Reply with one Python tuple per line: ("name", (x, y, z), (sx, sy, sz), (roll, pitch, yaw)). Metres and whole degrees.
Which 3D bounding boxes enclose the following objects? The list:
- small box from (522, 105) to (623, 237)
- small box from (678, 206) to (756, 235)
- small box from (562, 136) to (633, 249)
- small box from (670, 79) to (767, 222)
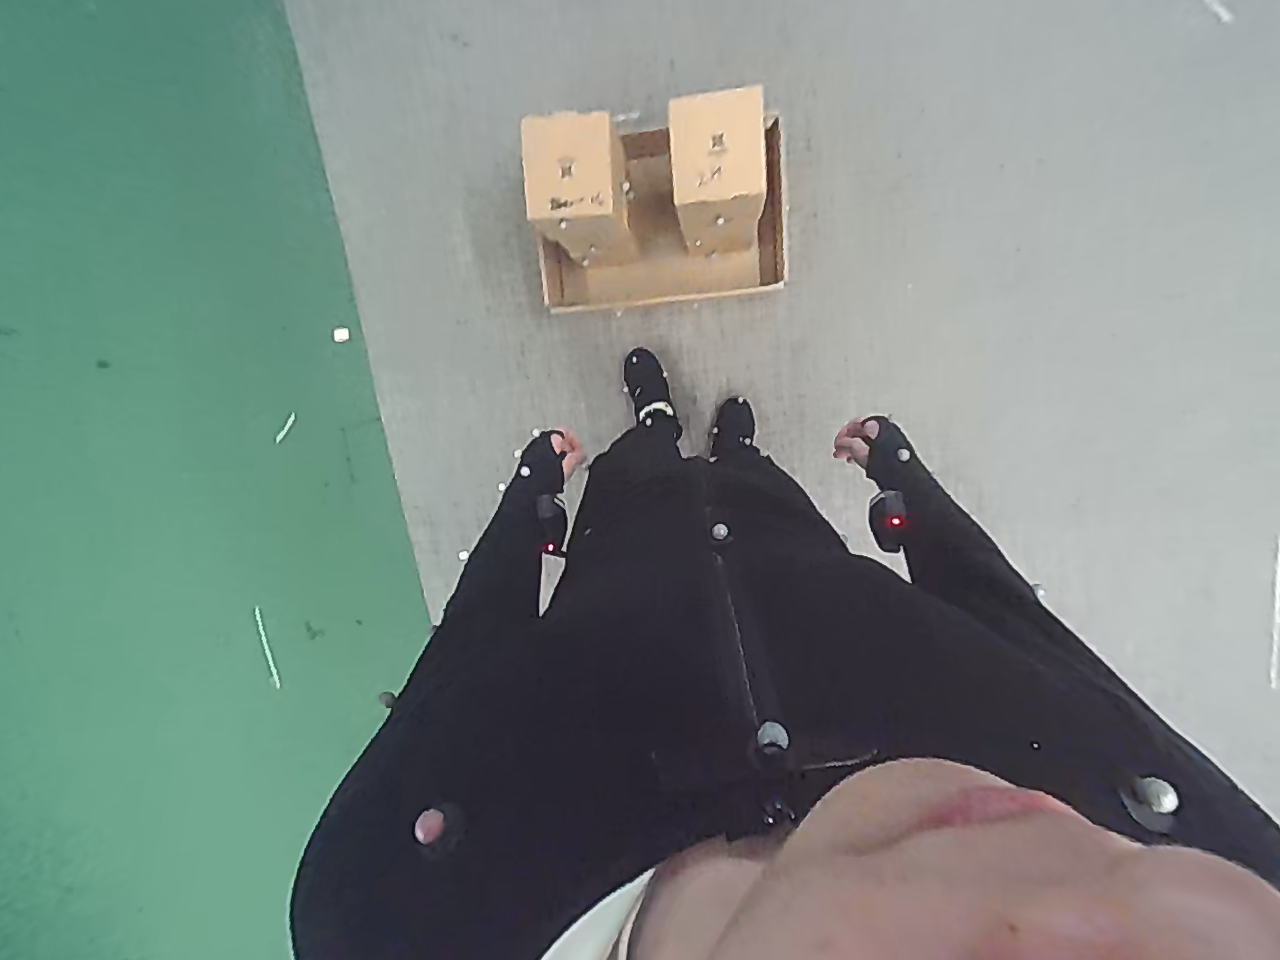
("small box", (-0.126, -0.593, 1.057), (0.168, 0.176, 0.179), (0, 100, 6))
("small box", (0.171, -0.645, 1.180), (0.168, 0.176, 0.179), (0, 100, 8))
("small box", (-0.108, -0.636, 1.216), (0.168, 0.176, 0.179), (-3, 101, 6))
("small box", (0.148, -0.609, 1.020), (0.168, 0.176, 0.179), (-2, 101, 10))
